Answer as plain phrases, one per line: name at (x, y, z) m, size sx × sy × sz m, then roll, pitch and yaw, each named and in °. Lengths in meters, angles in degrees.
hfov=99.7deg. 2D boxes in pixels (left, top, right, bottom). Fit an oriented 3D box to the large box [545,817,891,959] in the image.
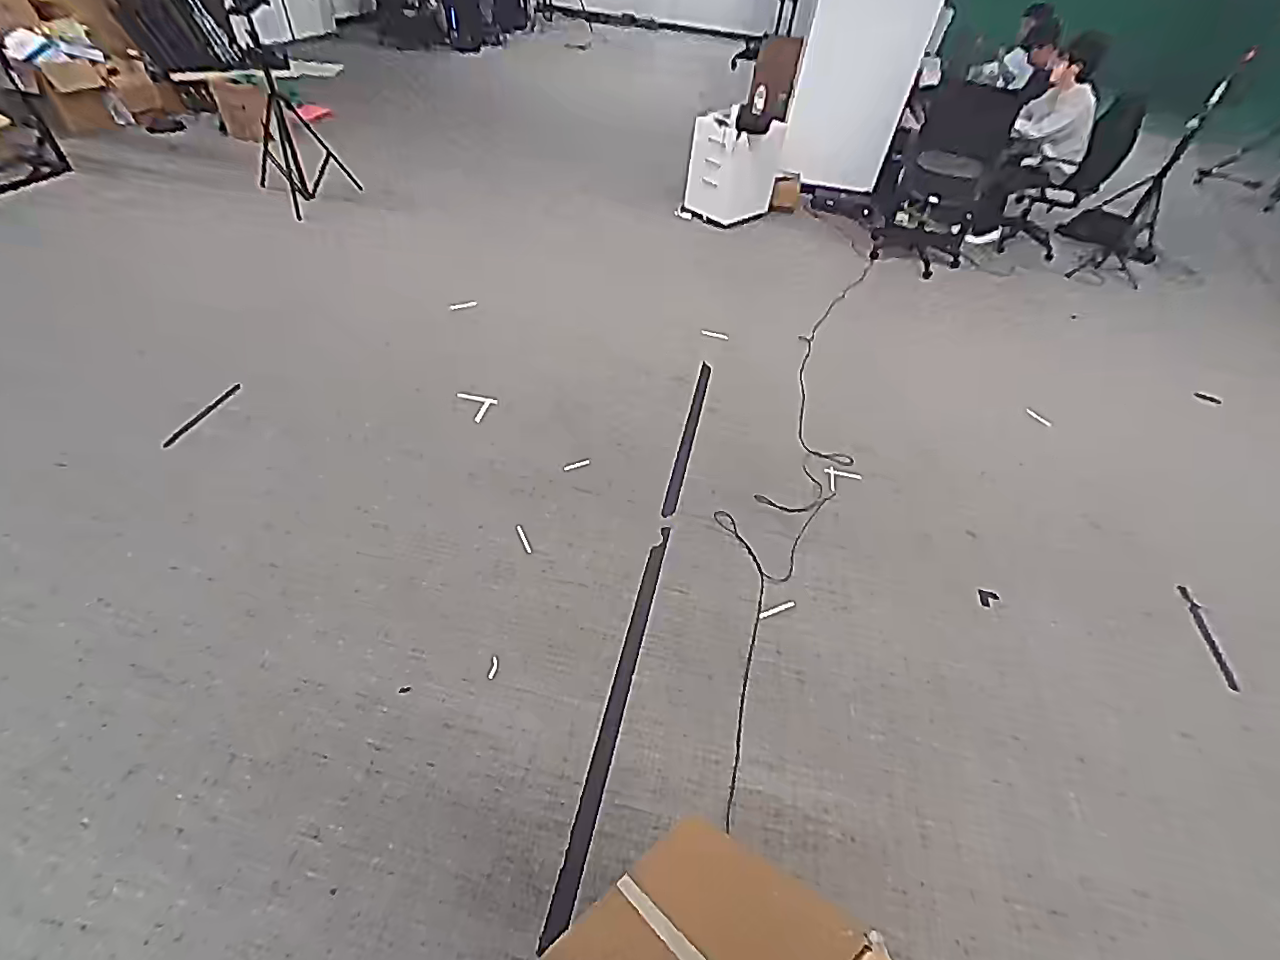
large box at (0.128, 0.736, 0.697) m, size 0.320 × 0.408 × 0.320 m, roll -28°, pitch 92°, yaw -28°
